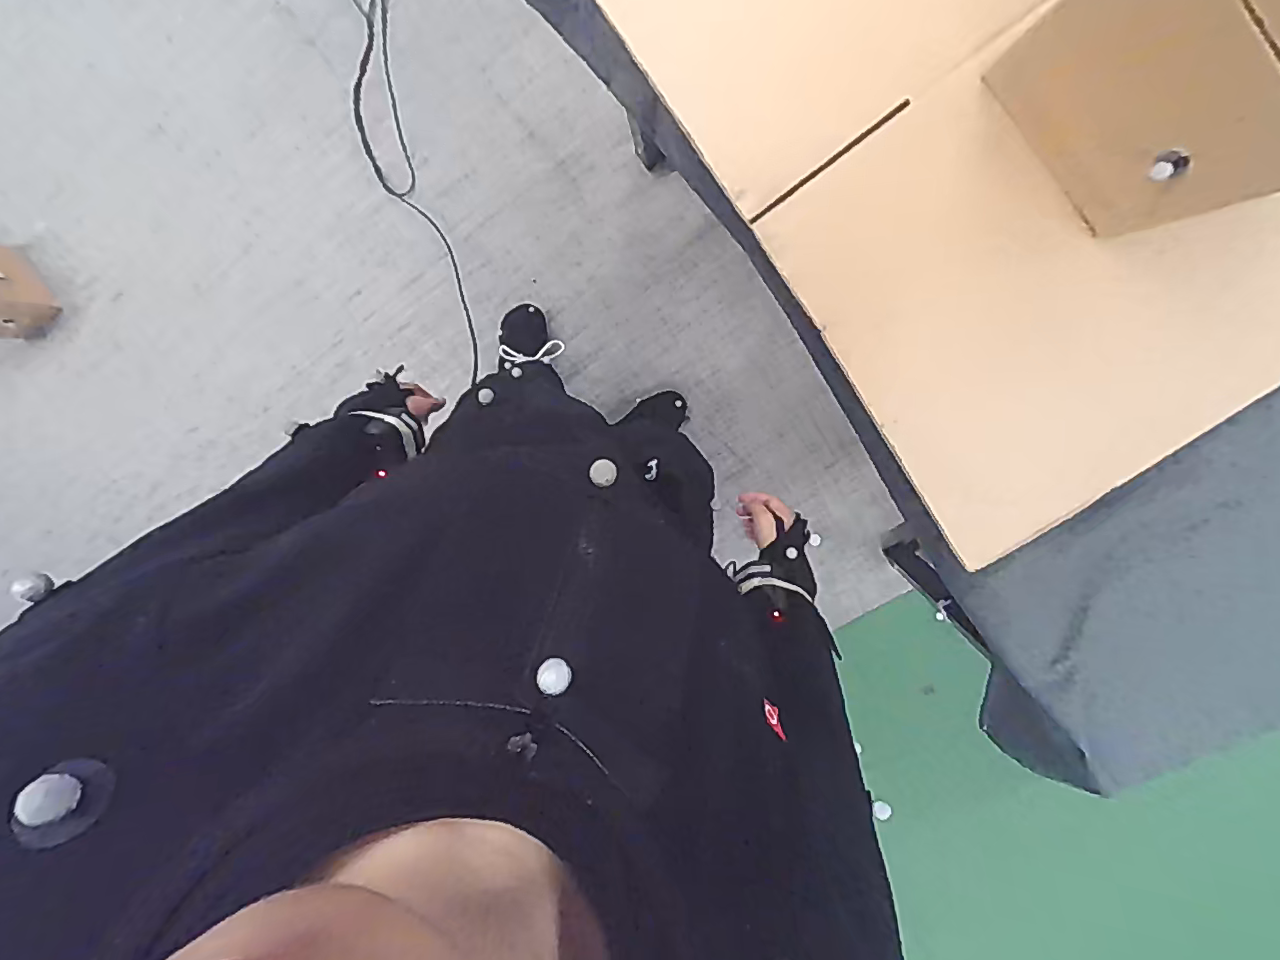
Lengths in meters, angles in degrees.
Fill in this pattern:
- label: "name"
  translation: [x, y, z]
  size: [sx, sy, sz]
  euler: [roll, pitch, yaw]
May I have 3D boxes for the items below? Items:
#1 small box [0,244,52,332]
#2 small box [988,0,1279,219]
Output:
- label: "small box"
  translation: [-1.620, -0.471, 1.313]
  size: [0.168, 0.176, 0.179]
  euler: [-29, 100, 10]
- label: "small box"
  translation: [0.383, -0.299, 0.348]
  size: [0.168, 0.176, 0.179]
  euler: [-43, 97, 9]
